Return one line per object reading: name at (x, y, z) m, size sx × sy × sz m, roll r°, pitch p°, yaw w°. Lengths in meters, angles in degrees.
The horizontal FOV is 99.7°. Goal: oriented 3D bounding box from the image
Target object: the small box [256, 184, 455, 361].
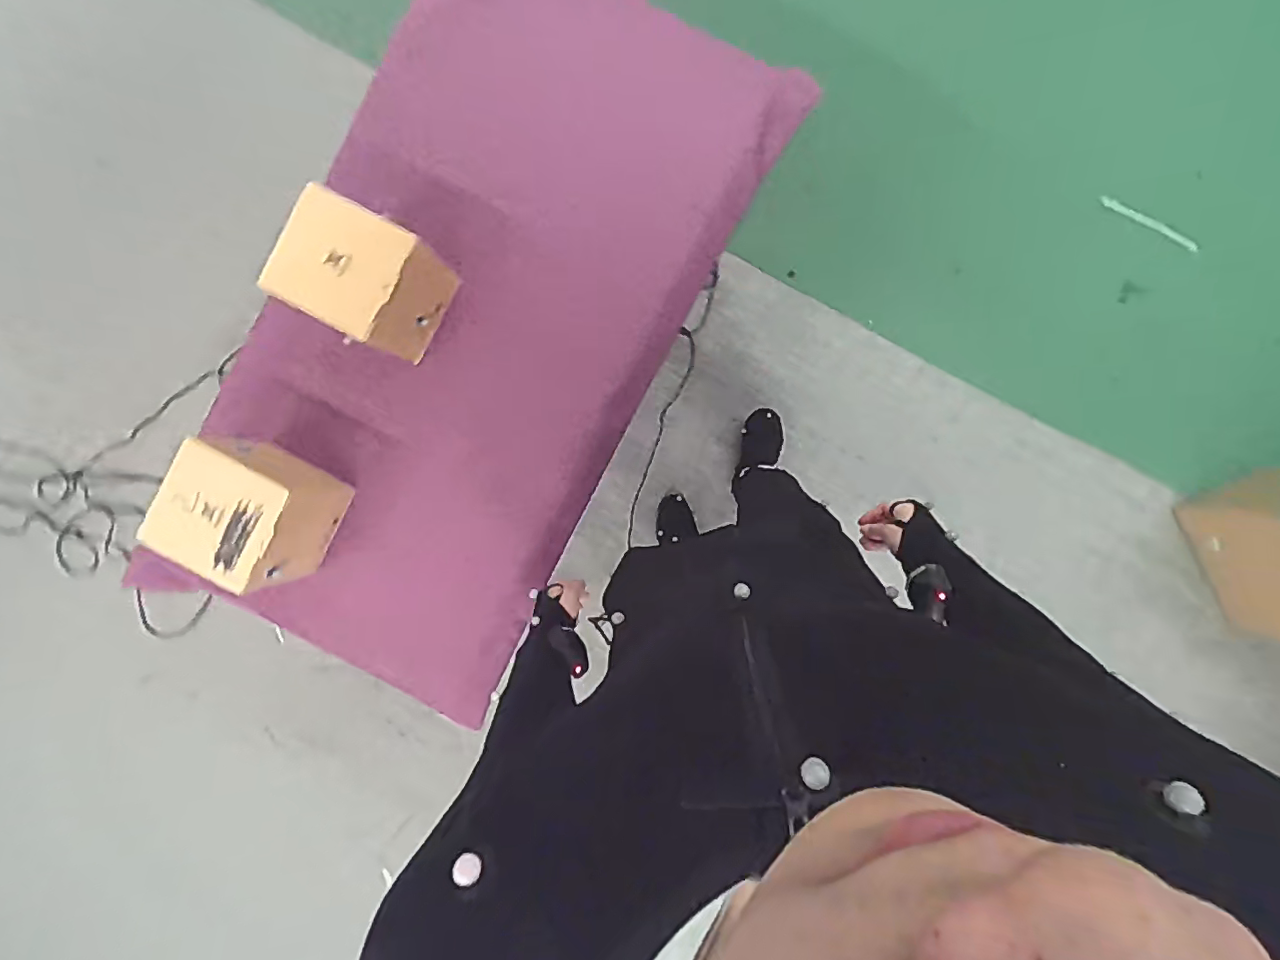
small box at (-0.420, -0.302, 0.828) m, size 0.179 × 0.176 × 0.168 m, roll 27°, pitch 91°, yaw 0°
